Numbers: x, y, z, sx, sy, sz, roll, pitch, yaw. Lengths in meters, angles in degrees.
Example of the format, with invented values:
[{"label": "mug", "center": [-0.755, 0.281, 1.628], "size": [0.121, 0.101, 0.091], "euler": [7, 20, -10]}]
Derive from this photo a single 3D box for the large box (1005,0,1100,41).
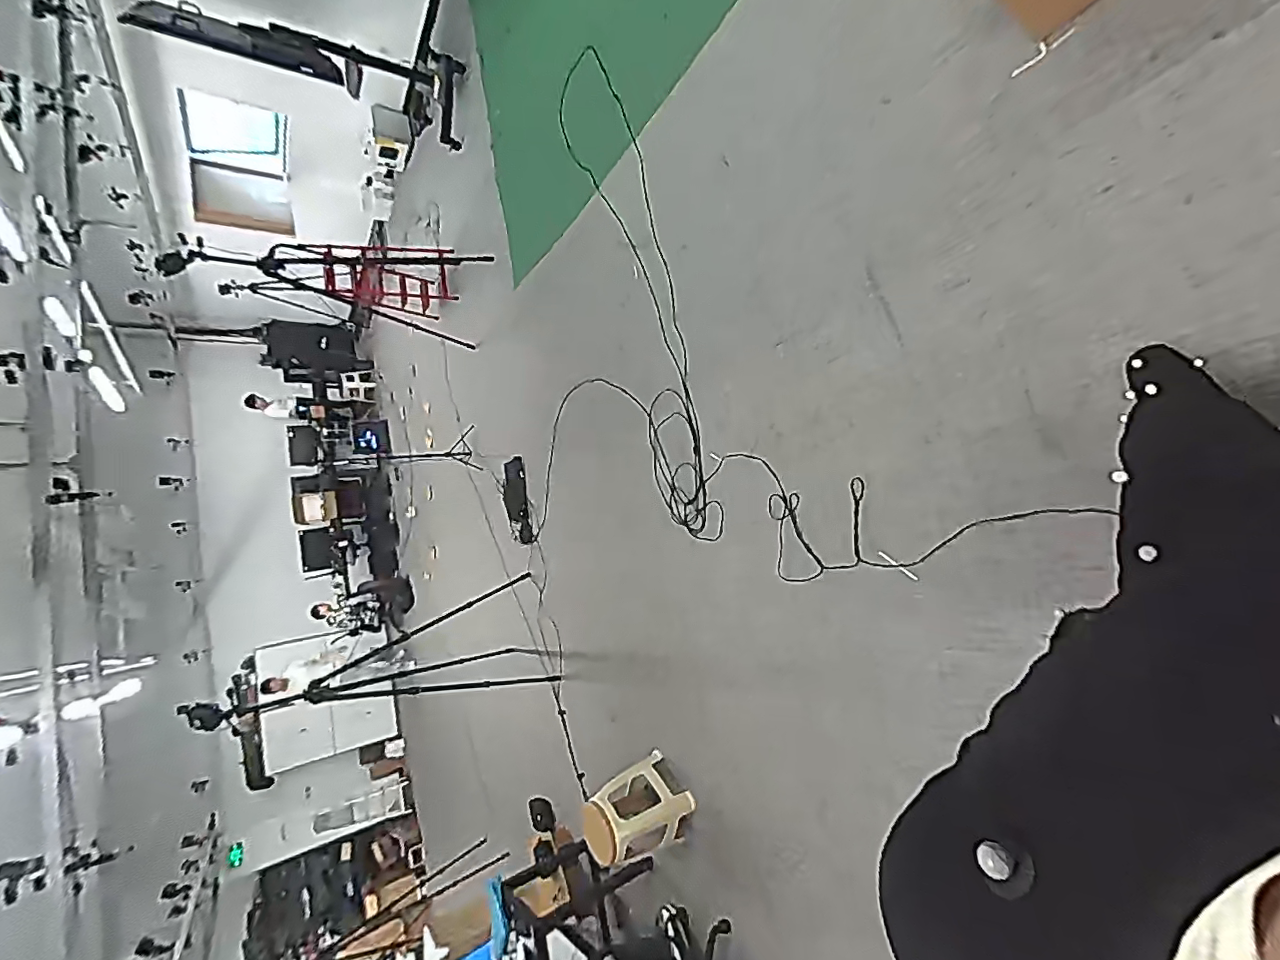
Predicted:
[{"label": "large box", "center": [0.967, -1.270, 1.128], "size": [0.408, 0.320, 0.320], "euler": [-21, 77, 53]}]
